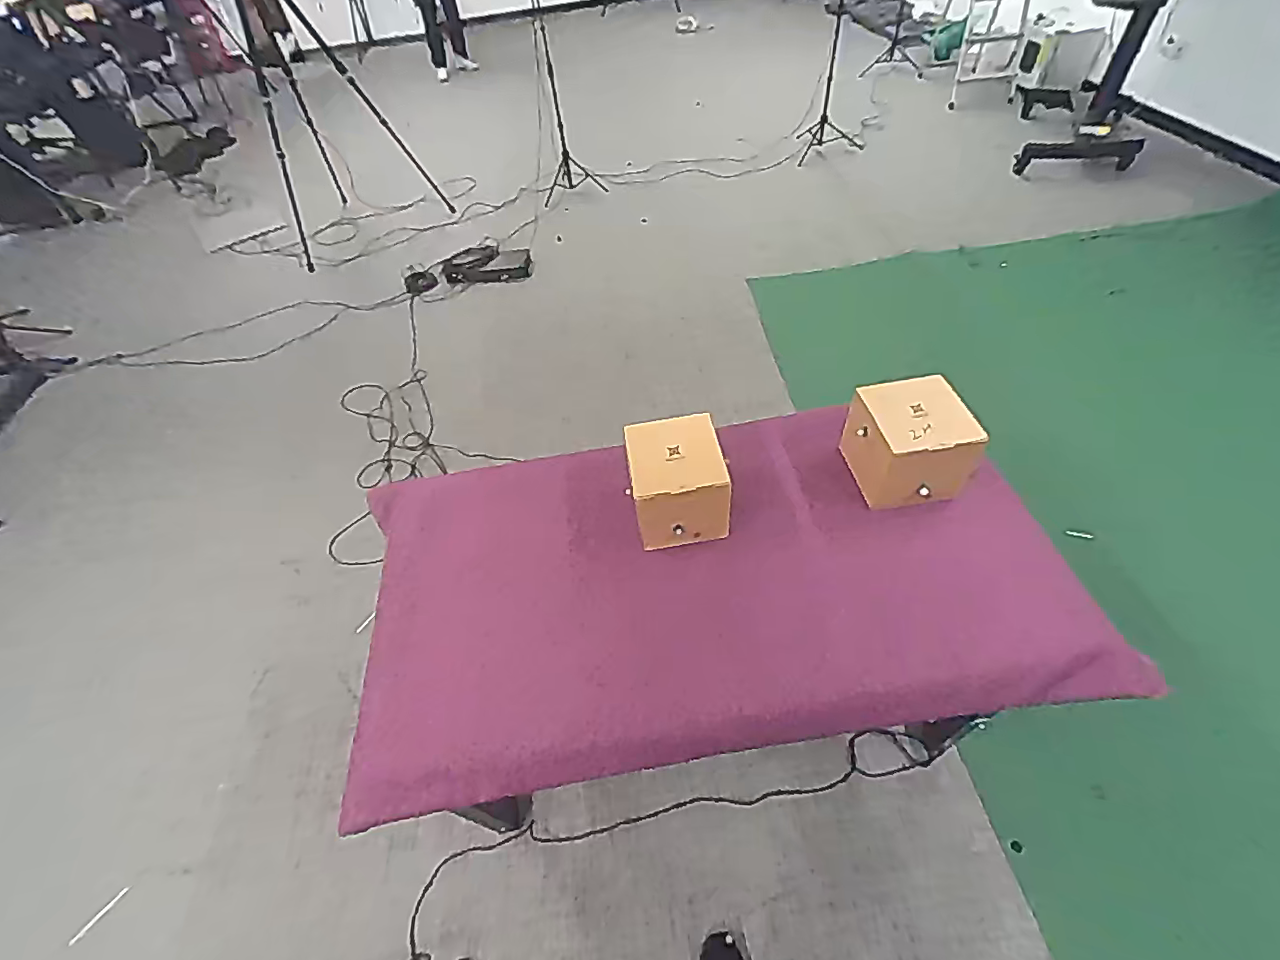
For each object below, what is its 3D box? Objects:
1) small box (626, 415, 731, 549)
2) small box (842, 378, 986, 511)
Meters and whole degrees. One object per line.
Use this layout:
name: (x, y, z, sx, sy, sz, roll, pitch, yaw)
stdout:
small box: (0.068, 0.005, 1.020, 0.168, 0.176, 0.179, -9, 52, -2)
small box: (0.503, -0.065, 1.026, 0.168, 0.176, 0.179, -9, 51, 0)
